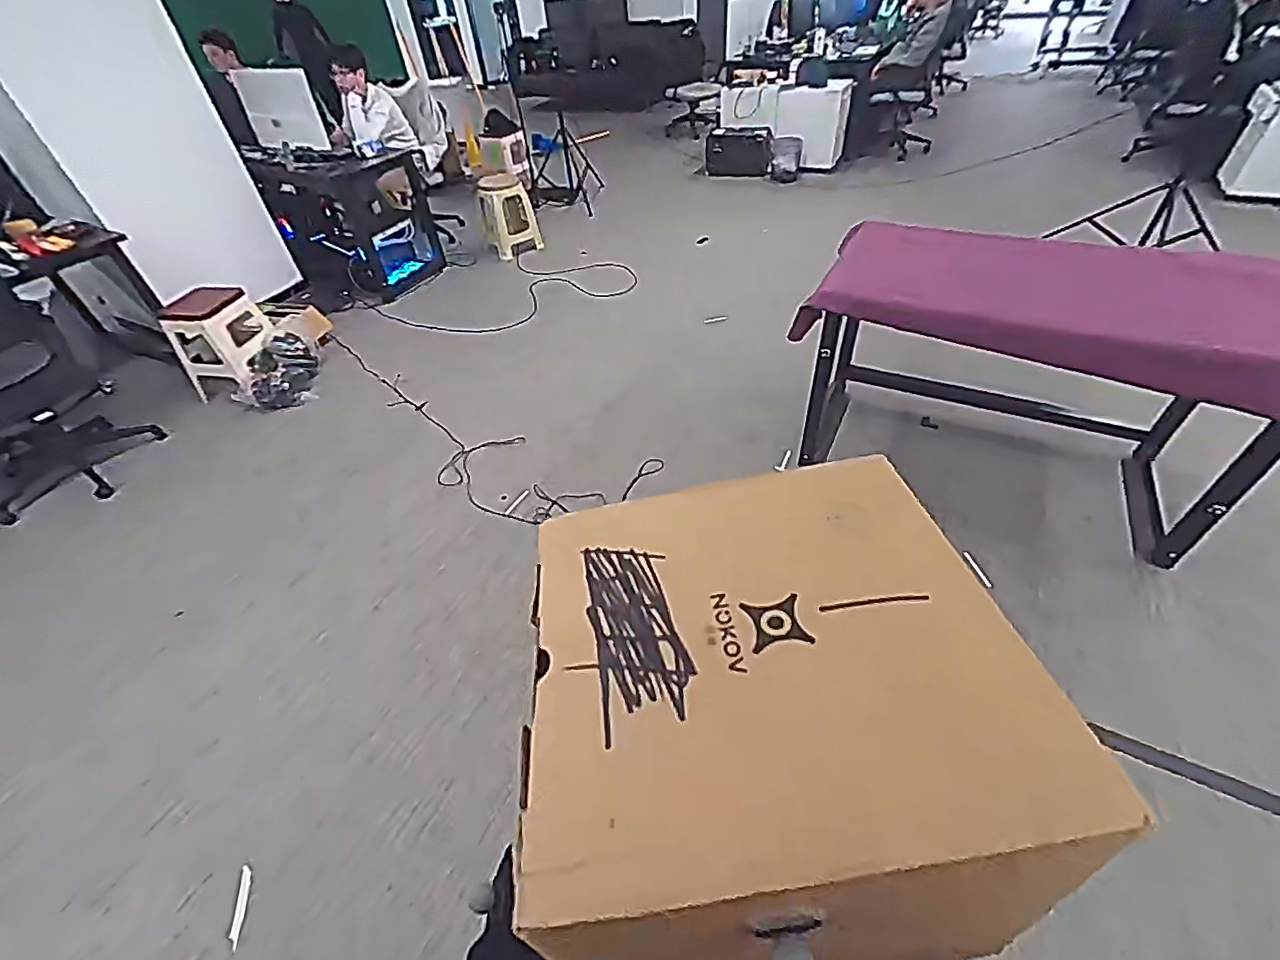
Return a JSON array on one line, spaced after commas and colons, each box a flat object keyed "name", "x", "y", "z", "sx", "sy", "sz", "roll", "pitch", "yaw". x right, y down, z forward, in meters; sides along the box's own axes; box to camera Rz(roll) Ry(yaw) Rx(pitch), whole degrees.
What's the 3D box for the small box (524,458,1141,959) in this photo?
[{"name": "small box", "x": 0.059, "y": 0.116, "z": 0.259, "sx": 0.179, "sy": 0.176, "sz": 0.168, "roll": -10, "pitch": 40, "yaw": 1}]
